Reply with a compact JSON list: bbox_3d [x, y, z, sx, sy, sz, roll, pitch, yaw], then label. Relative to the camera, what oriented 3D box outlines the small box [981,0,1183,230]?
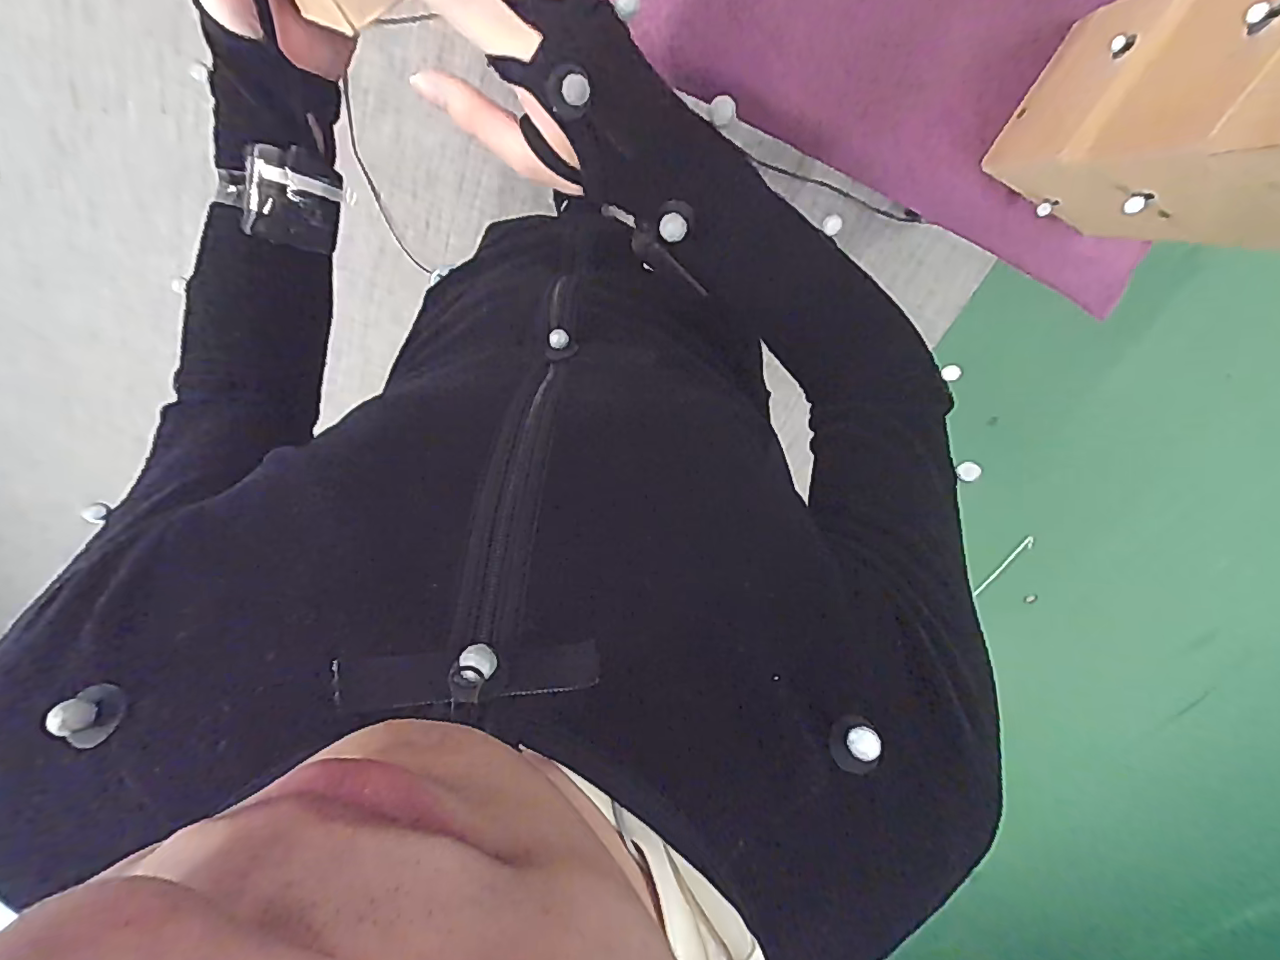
[{"bbox_3d":[0.526,-0.395,0.581,0.179,0.176,0.168,25,116,-9],"label":"small box"}]

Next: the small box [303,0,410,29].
[{"bbox_3d":[-0.139,-0.357,0.244,0.179,0.168,0.176,-40,143,-2],"label":"small box"}]

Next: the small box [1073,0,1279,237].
[{"bbox_3d":[0.519,-0.321,0.436,0.168,0.176,0.179,26,117,-8],"label":"small box"}]
